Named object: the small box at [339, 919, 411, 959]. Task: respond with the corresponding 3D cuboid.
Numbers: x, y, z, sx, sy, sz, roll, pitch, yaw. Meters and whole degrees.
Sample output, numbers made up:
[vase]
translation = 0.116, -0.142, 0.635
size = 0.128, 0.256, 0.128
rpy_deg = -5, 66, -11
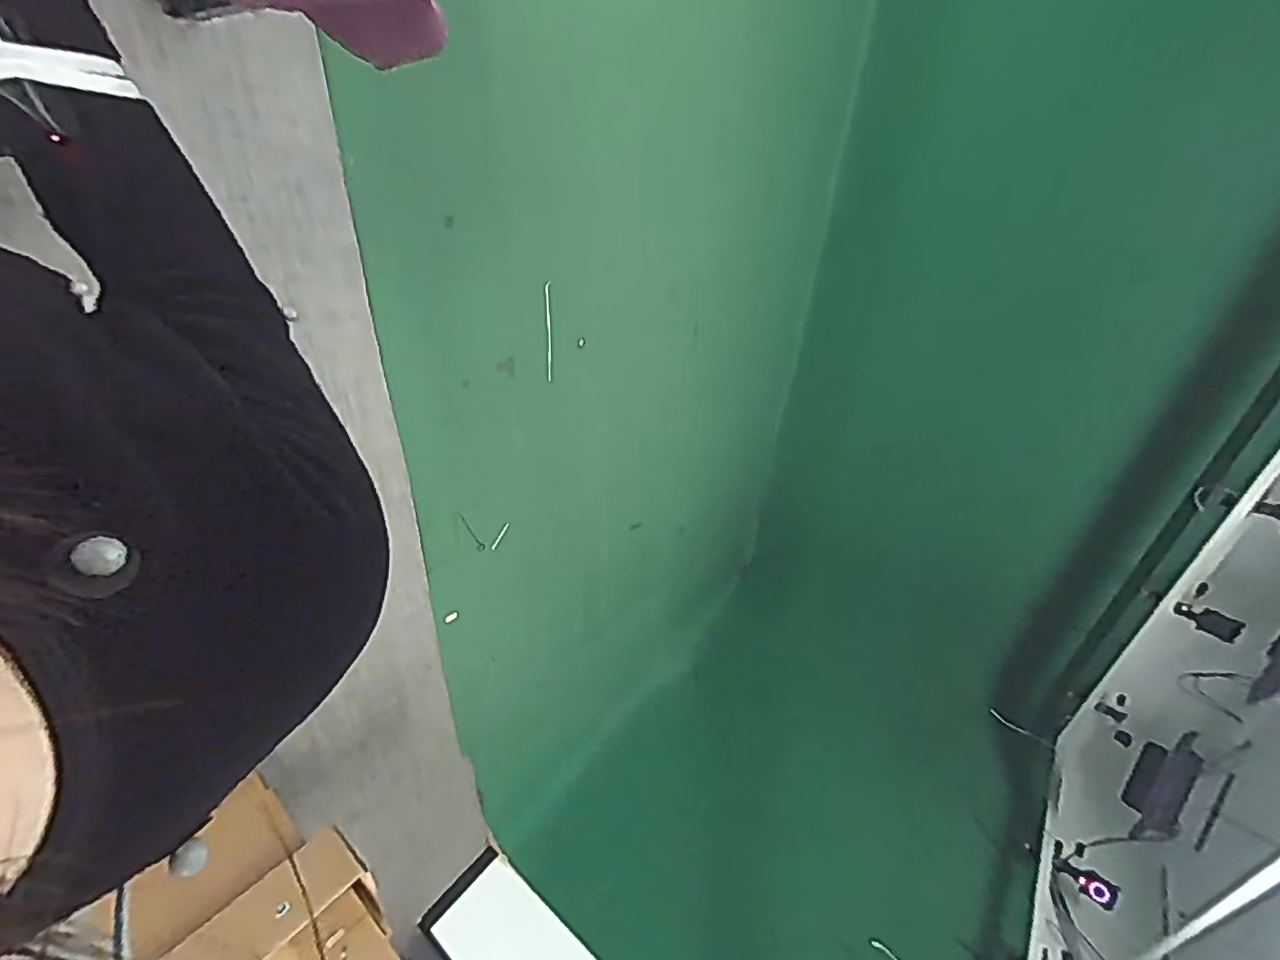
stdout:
[small box]
translation = -0.675, 1.281, 1.366
size = 0.179, 0.176, 0.168
rpy_deg = -31, 135, -42
